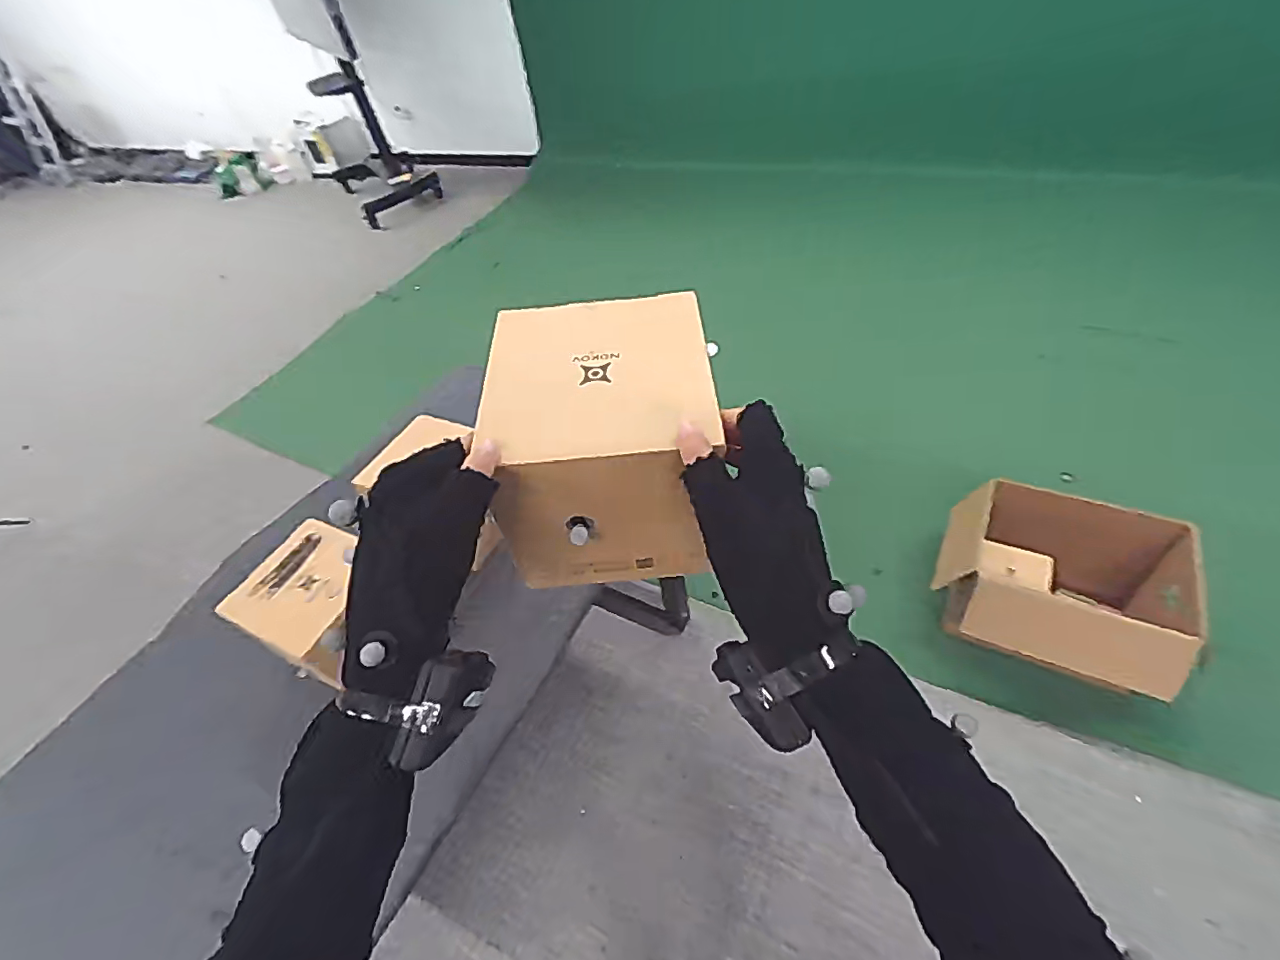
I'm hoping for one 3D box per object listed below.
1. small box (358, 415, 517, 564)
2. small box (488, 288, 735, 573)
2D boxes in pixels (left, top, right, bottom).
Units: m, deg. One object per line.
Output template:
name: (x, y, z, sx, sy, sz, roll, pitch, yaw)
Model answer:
small box: (-0.324, 0.018, 0.919, 0.179, 0.176, 0.168, 16, 55, 23)
small box: (-0.013, -0.033, 0.457, 0.168, 0.176, 0.179, -5, 51, 2)
